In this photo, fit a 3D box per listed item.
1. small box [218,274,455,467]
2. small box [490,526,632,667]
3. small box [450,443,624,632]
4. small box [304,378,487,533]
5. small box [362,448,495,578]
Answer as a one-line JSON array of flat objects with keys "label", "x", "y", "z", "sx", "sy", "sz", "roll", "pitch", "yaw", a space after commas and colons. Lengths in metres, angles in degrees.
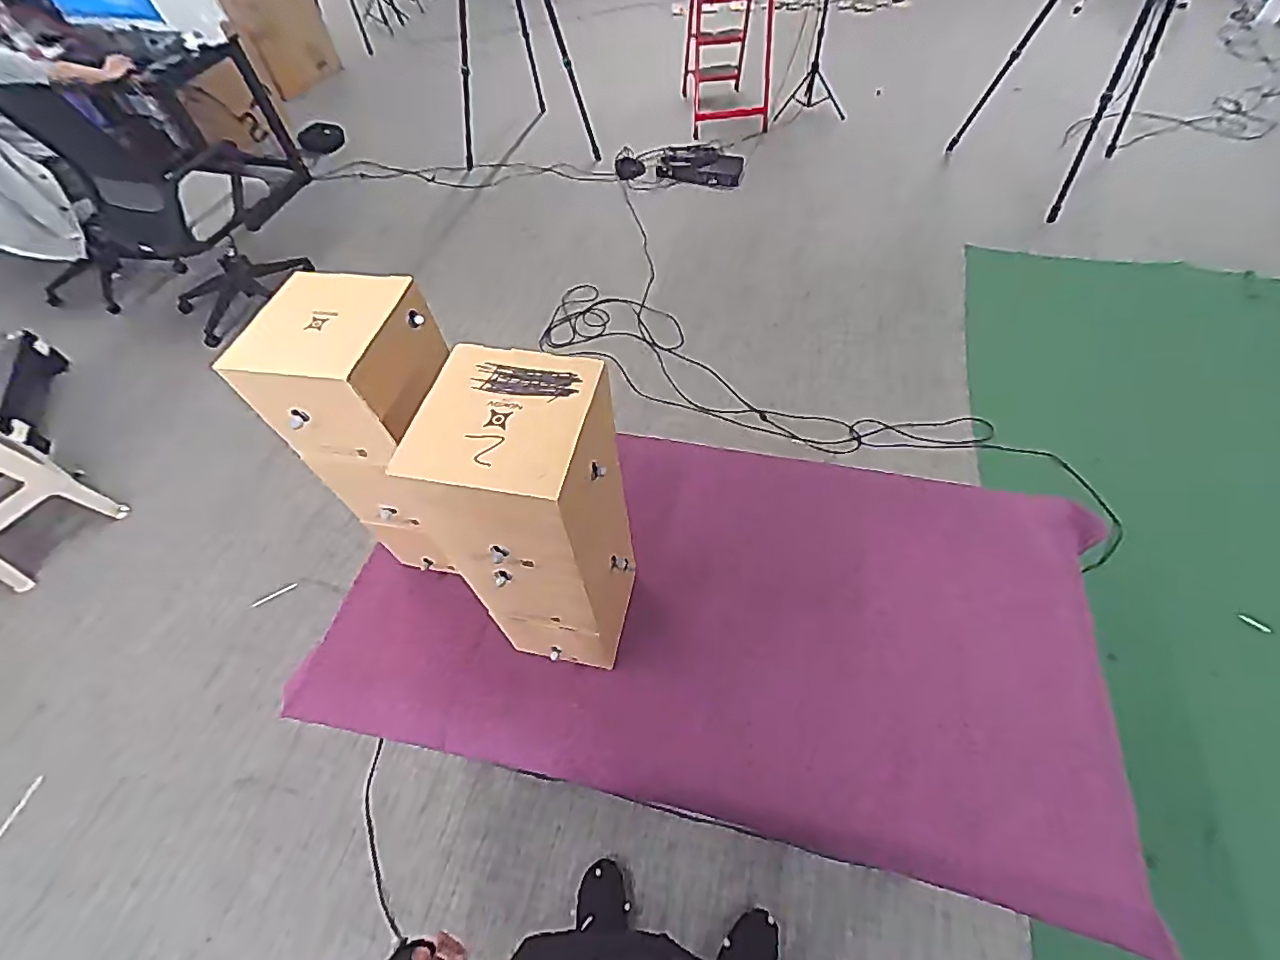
[{"label": "small box", "x": -0.361, "y": -0.135, "z": 0.687, "sx": 0.168, "sy": 0.176, "sz": 0.179, "roll": 6, "pitch": 56, "yaw": 10}, {"label": "small box", "x": -0.111, "y": 0.173, "z": 0.853, "sx": 0.168, "sy": 0.176, "sz": 0.179, "roll": 8, "pitch": 57, "yaw": 10}, {"label": "small box", "x": -0.120, "y": 0.078, "z": 0.720, "sx": 0.168, "sy": 0.176, "sz": 0.179, "roll": 8, "pitch": 55, "yaw": 10}, {"label": "small box", "x": -0.350, "y": -0.043, "z": 0.821, "sx": 0.168, "sy": 0.176, "sz": 0.179, "roll": 7, "pitch": 57, "yaw": 10}, {"label": "small box", "x": -0.342, "y": 0.051, "z": 0.954, "sx": 0.168, "sy": 0.176, "sz": 0.179, "roll": 7, "pitch": 57, "yaw": 9}]
